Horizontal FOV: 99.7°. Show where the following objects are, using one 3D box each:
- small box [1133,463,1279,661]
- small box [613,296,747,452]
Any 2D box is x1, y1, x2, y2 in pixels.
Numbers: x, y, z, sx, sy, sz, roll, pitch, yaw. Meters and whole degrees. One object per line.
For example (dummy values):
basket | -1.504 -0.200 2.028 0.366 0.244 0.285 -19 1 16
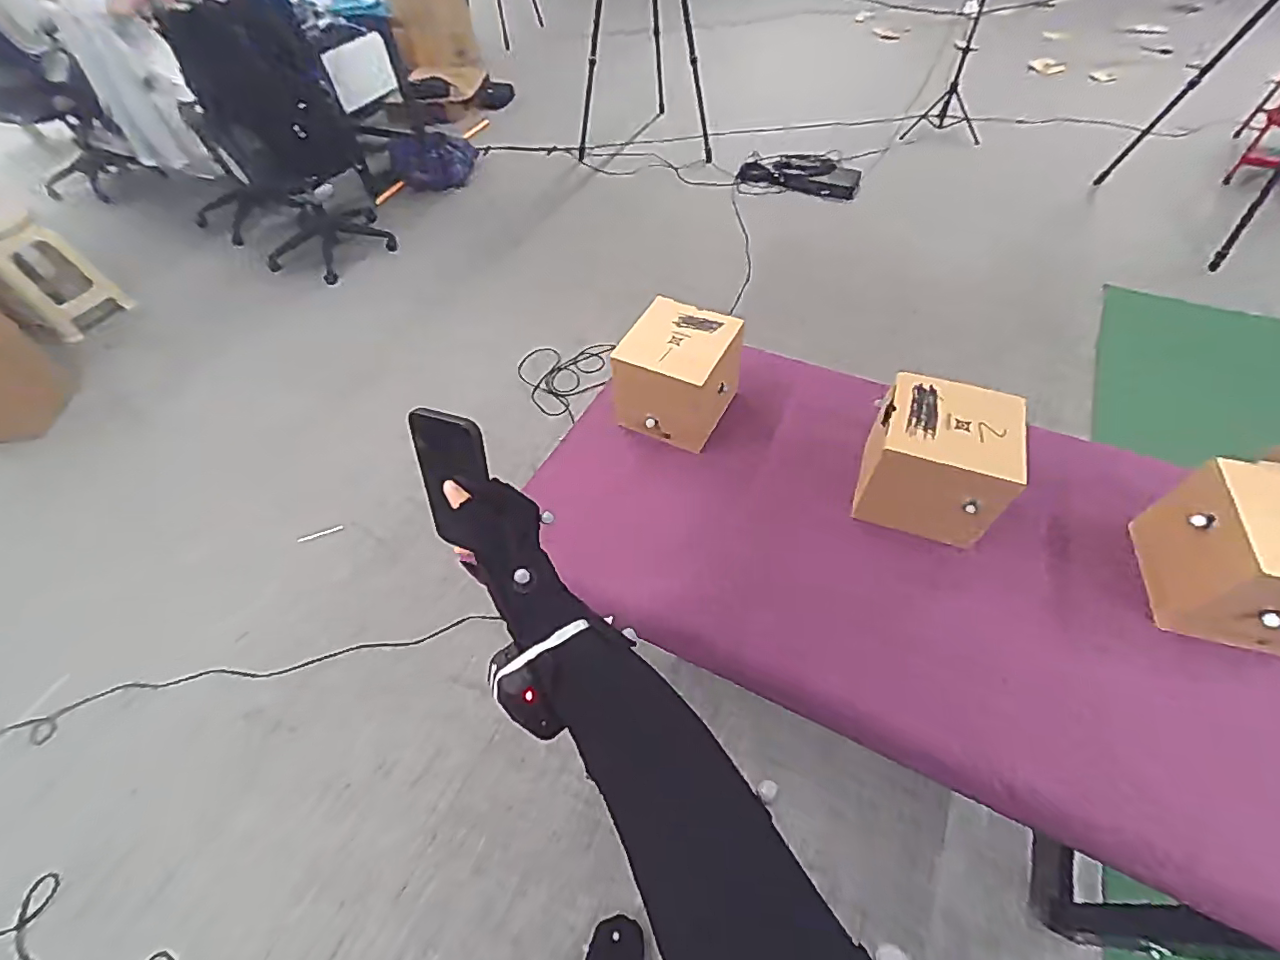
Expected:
small box | 0.785 0.109 0.684 0.168 0.176 0.179 12 54 13
small box | 0.070 -0.183 0.942 0.168 0.176 0.179 23 59 19
